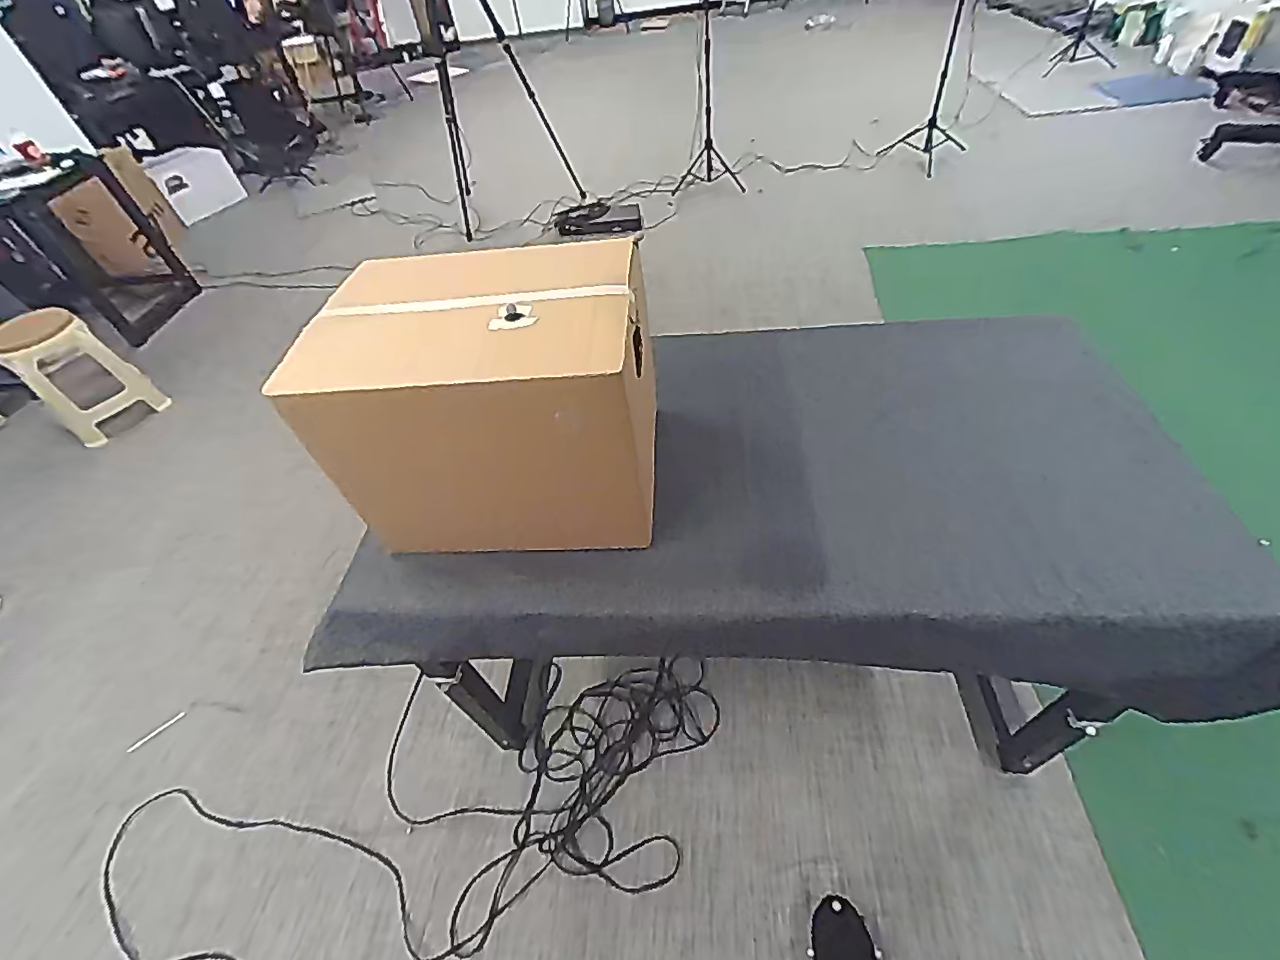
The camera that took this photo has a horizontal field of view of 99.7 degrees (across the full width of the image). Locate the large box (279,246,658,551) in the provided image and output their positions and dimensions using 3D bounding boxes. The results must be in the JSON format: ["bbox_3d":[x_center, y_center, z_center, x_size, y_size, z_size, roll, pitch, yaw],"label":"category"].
[{"bbox_3d":[-0.185,-0.111,0.784,0.408,0.320,0.320,-2,48,5],"label":"large box"}]
